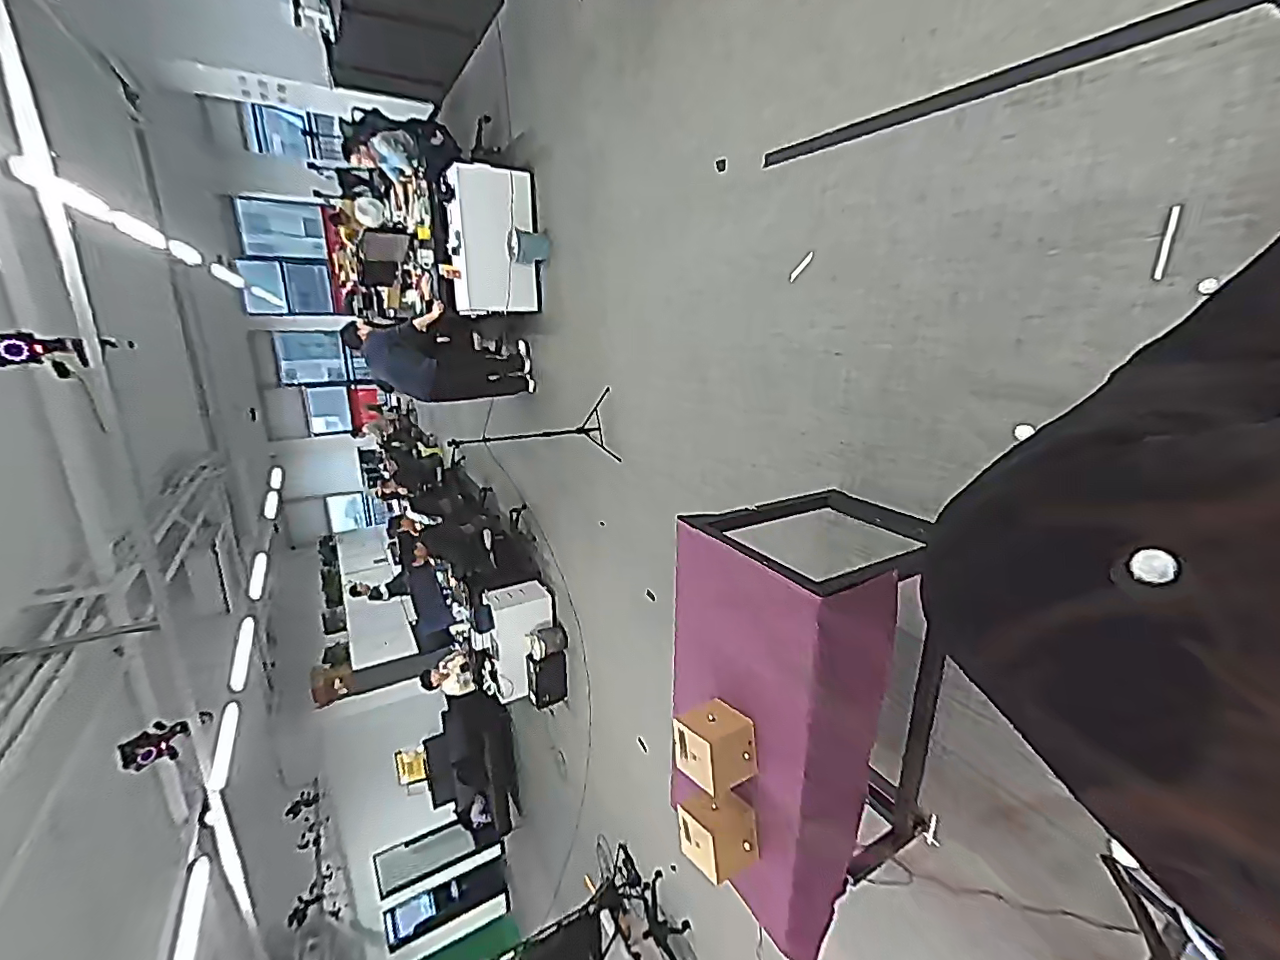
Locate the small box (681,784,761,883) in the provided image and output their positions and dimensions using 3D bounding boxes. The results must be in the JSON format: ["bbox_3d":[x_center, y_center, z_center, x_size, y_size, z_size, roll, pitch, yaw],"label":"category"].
[{"bbox_3d":[0.250,1.079,1.673,0.179,0.176,0.168,3,101,60],"label":"small box"}]
